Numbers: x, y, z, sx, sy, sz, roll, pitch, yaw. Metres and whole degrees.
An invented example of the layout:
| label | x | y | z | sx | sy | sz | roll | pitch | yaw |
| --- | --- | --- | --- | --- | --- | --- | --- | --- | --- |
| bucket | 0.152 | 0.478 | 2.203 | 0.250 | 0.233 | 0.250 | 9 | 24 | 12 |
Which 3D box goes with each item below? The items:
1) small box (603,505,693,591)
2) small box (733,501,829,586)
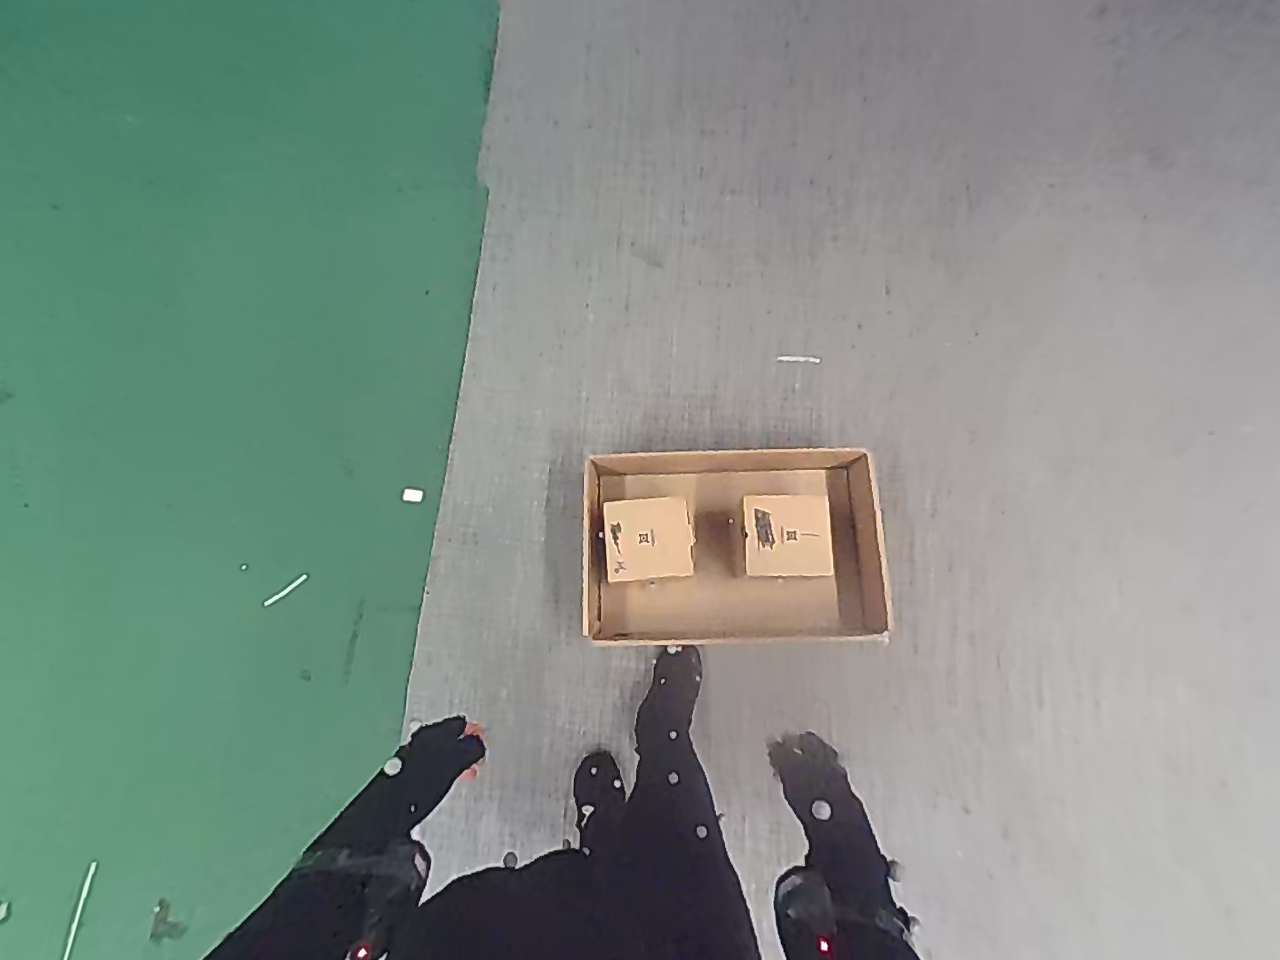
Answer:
| label | x | y | z | sx | sy | sz | roll | pitch | yaw |
| --- | --- | --- | --- | --- | --- | --- | --- | --- | --- |
| small box | 0.014 | 0.152 | 1.179 | 0.179 | 0.176 | 0.168 | -4 | 76 | 0 |
| small box | 0.295 | 0.143 | 1.170 | 0.179 | 0.176 | 0.168 | 0 | 77 | 3 |
